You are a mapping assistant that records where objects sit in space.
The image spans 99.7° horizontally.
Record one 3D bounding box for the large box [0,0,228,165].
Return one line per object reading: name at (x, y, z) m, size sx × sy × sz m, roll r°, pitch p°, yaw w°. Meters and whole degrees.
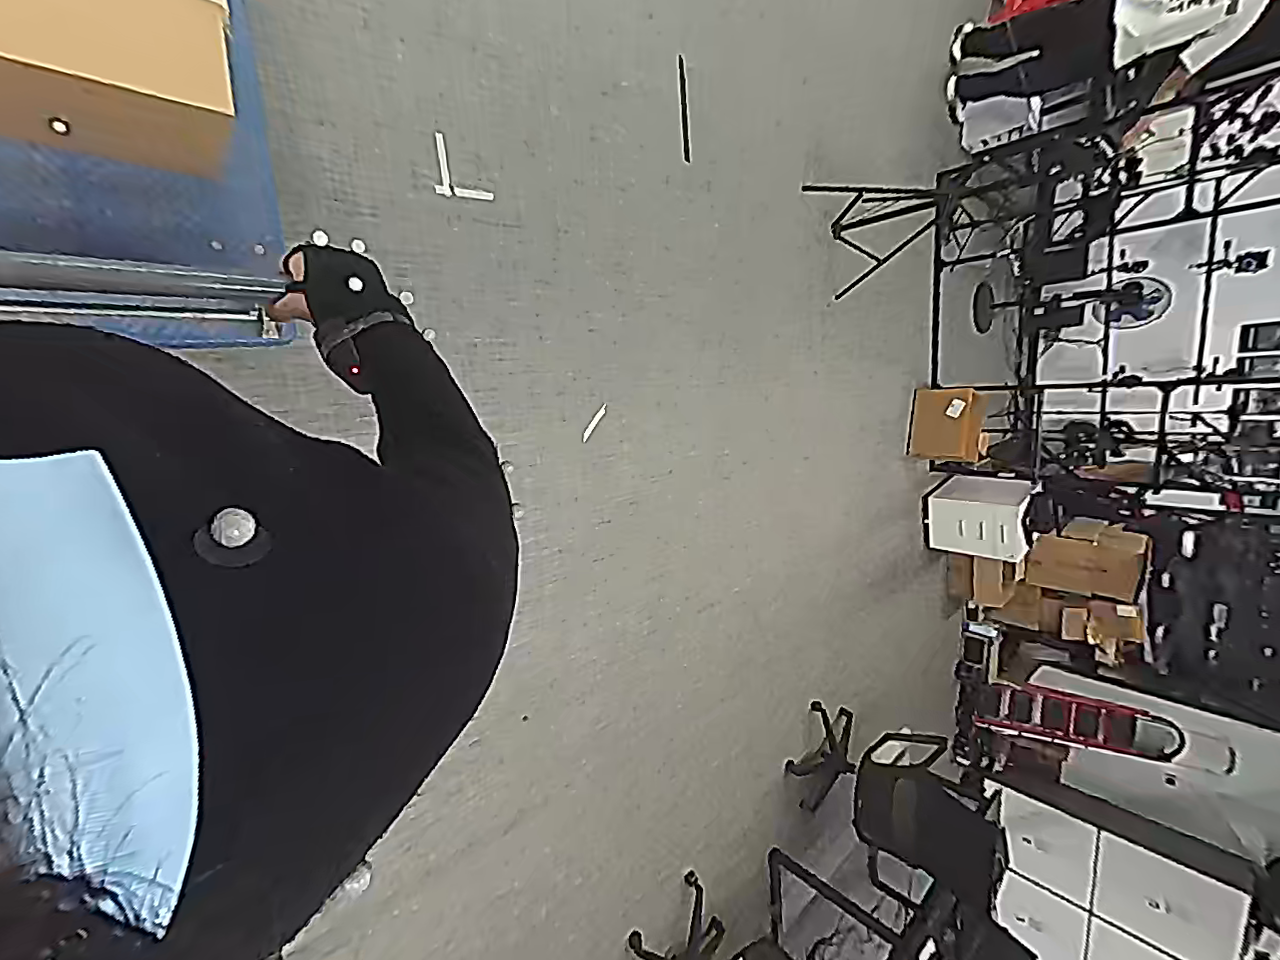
large box at (-0.870, -0.702, 0.771) m, size 0.408 × 0.320 × 0.320 m, roll -9°, pitch 101°, yaw -40°
